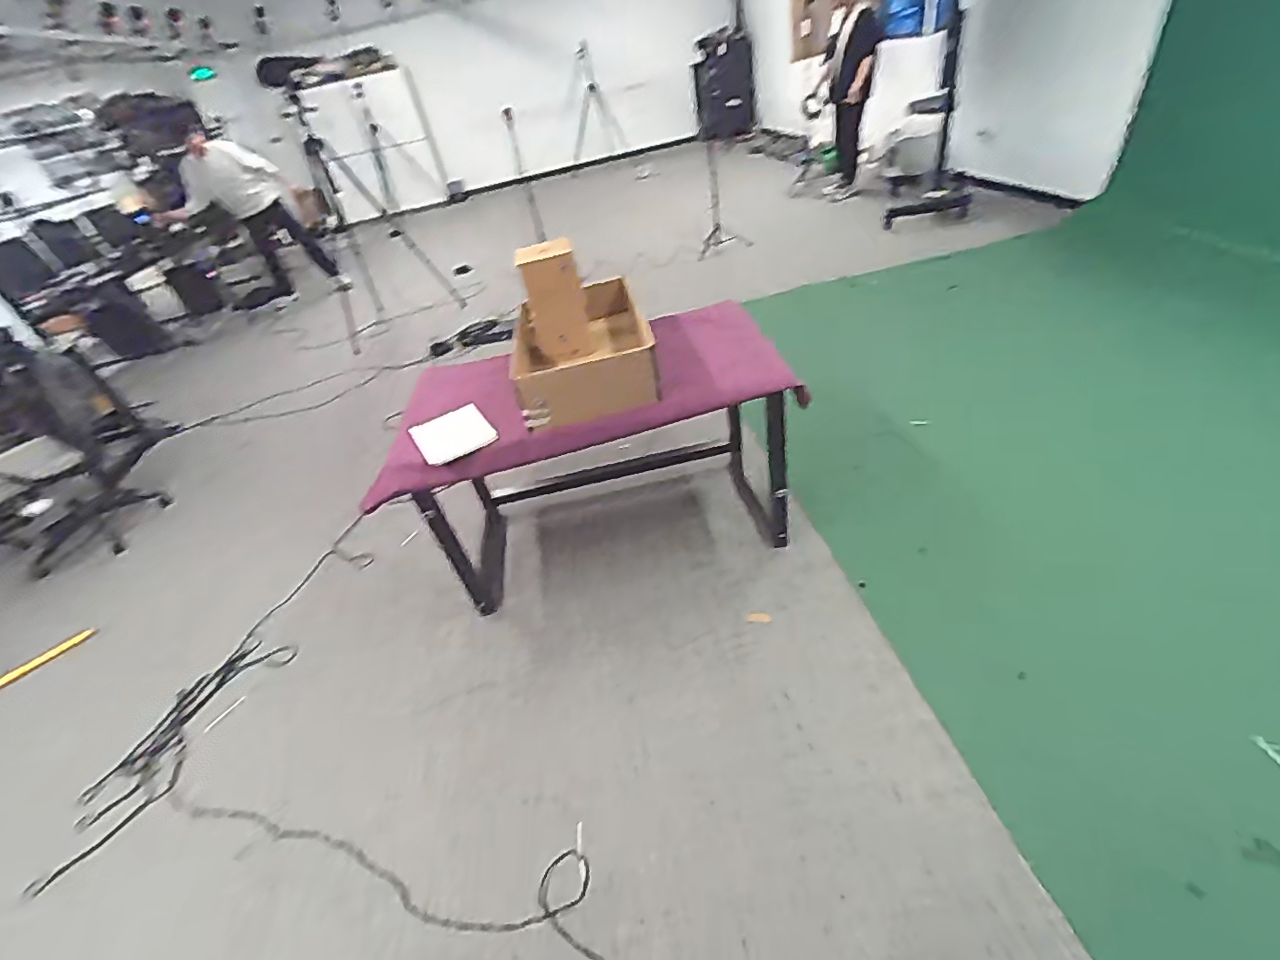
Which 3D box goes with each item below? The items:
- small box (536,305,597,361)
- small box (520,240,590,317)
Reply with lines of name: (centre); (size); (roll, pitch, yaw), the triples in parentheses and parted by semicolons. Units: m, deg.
small box: (-0.243, -0.511, 1.807); (0.168, 0.176, 0.179); (-13, 40, 1)
small box: (-0.267, -0.632, 1.702); (0.179, 0.176, 0.168); (-14, 39, -1)
